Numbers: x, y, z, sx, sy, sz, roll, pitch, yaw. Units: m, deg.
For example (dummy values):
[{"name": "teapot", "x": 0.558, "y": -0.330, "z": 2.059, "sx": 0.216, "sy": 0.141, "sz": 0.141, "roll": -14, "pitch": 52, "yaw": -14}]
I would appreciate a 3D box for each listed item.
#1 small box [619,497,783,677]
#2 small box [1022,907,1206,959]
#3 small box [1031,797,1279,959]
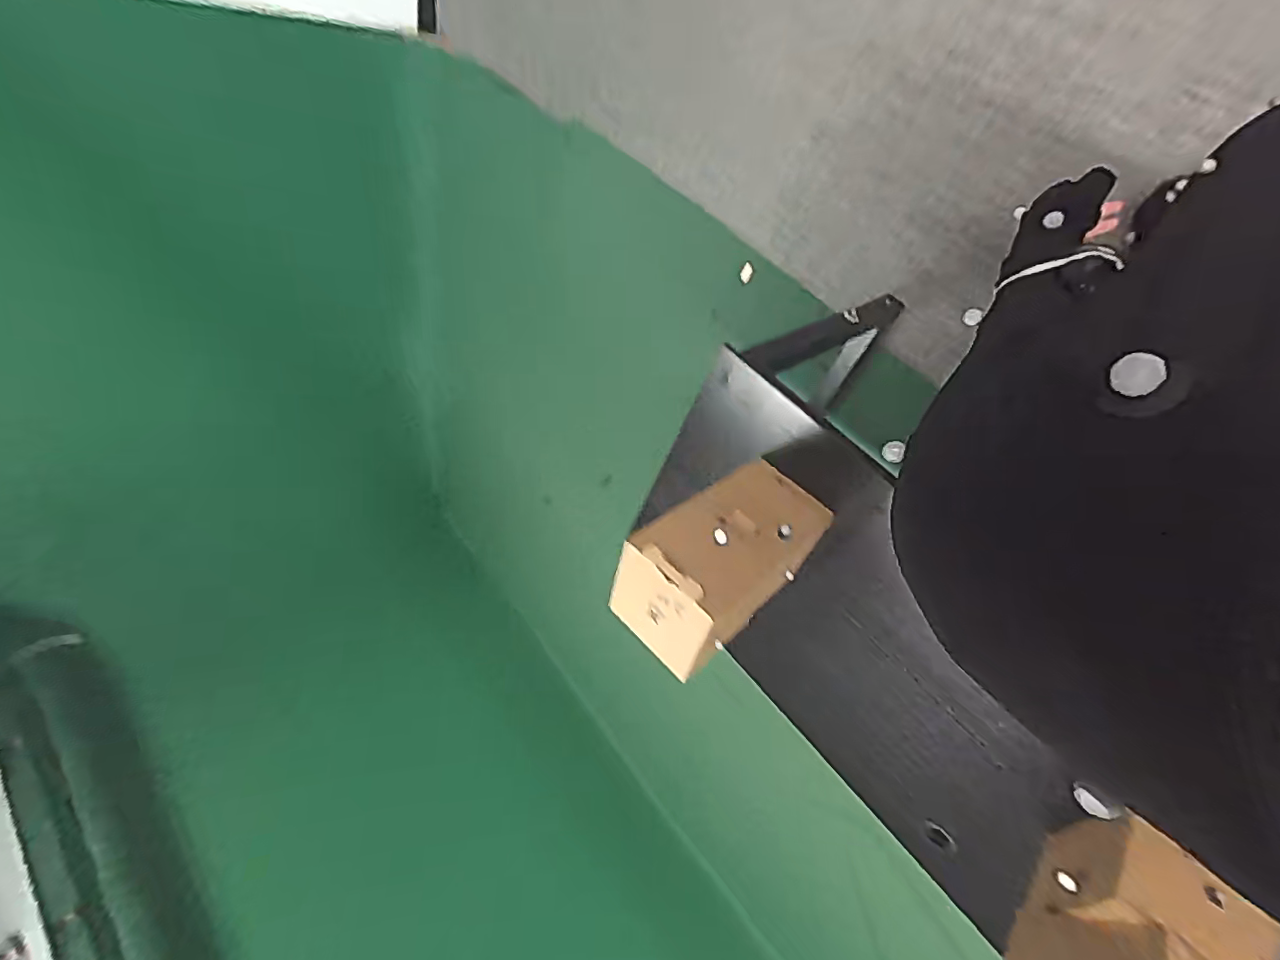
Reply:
[{"name": "small box", "x": 0.093, "y": 0.160, "z": 0.839, "sx": 0.168, "sy": 0.176, "sz": 0.179, "roll": 39, "pitch": 137, "yaw": 25}, {"name": "small box", "x": 0.555, "y": 0.625, "z": 0.602, "sx": 0.168, "sy": 0.176, "sz": 0.179, "roll": 55, "pitch": 142, "yaw": 11}, {"name": "small box", "x": 0.667, "y": 0.562, "z": 0.703, "sx": 0.168, "sy": 0.176, "sz": 0.179, "roll": 40, "pitch": 136, "yaw": 27}]
